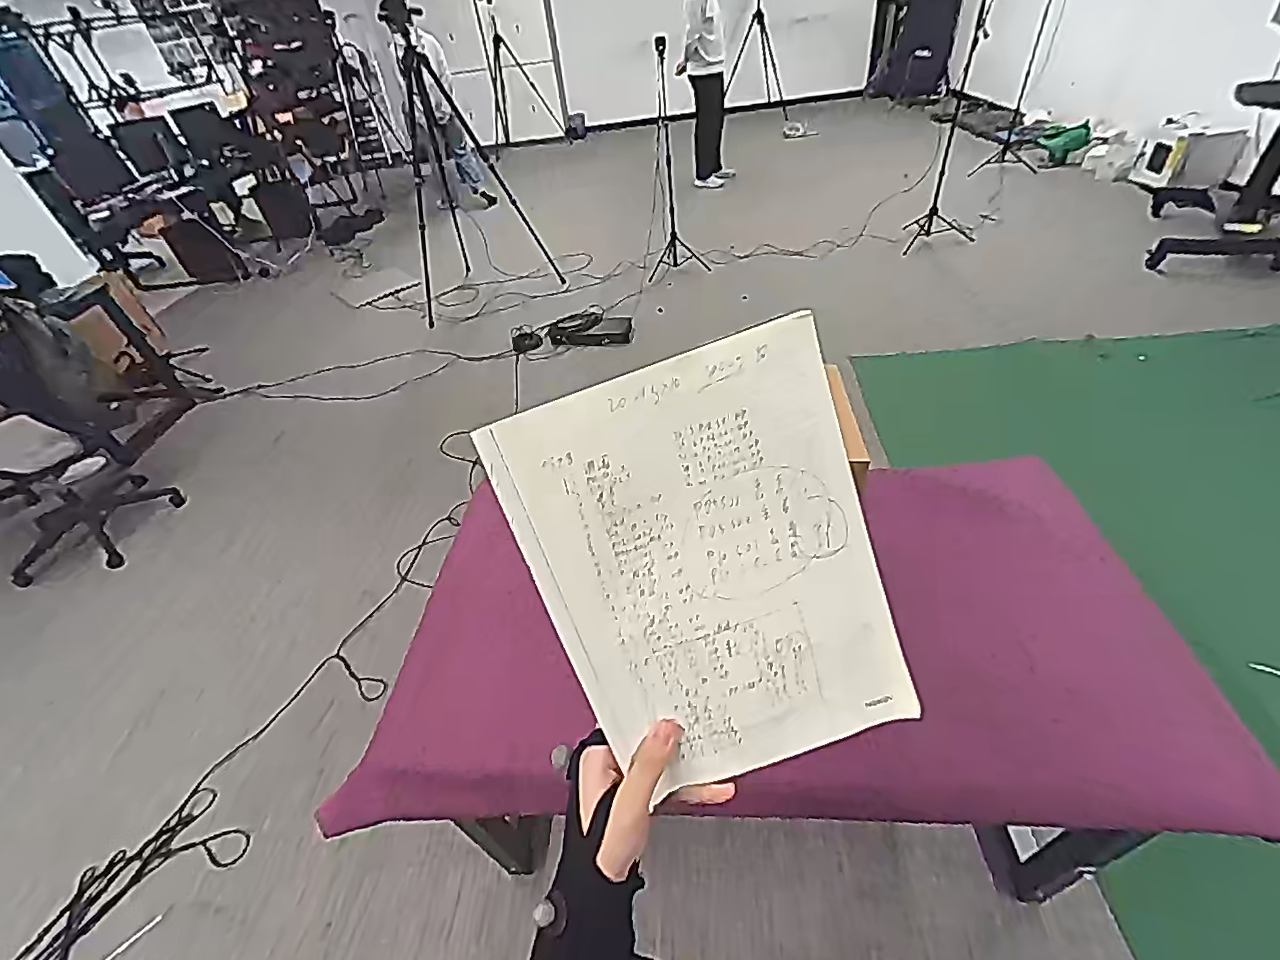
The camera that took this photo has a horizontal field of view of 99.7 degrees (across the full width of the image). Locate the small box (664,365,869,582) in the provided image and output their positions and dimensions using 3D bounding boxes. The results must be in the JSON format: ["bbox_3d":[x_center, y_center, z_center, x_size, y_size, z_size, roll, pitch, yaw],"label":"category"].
[{"bbox_3d":[0.124,-0.006,0.575,0.179,0.176,0.168,-1,40,9],"label":"small box"}]

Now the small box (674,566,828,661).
[{"bbox_3d":[0.135,0.114,0.689,0.168,0.176,0.179,-2,41,7],"label":"small box"}]
